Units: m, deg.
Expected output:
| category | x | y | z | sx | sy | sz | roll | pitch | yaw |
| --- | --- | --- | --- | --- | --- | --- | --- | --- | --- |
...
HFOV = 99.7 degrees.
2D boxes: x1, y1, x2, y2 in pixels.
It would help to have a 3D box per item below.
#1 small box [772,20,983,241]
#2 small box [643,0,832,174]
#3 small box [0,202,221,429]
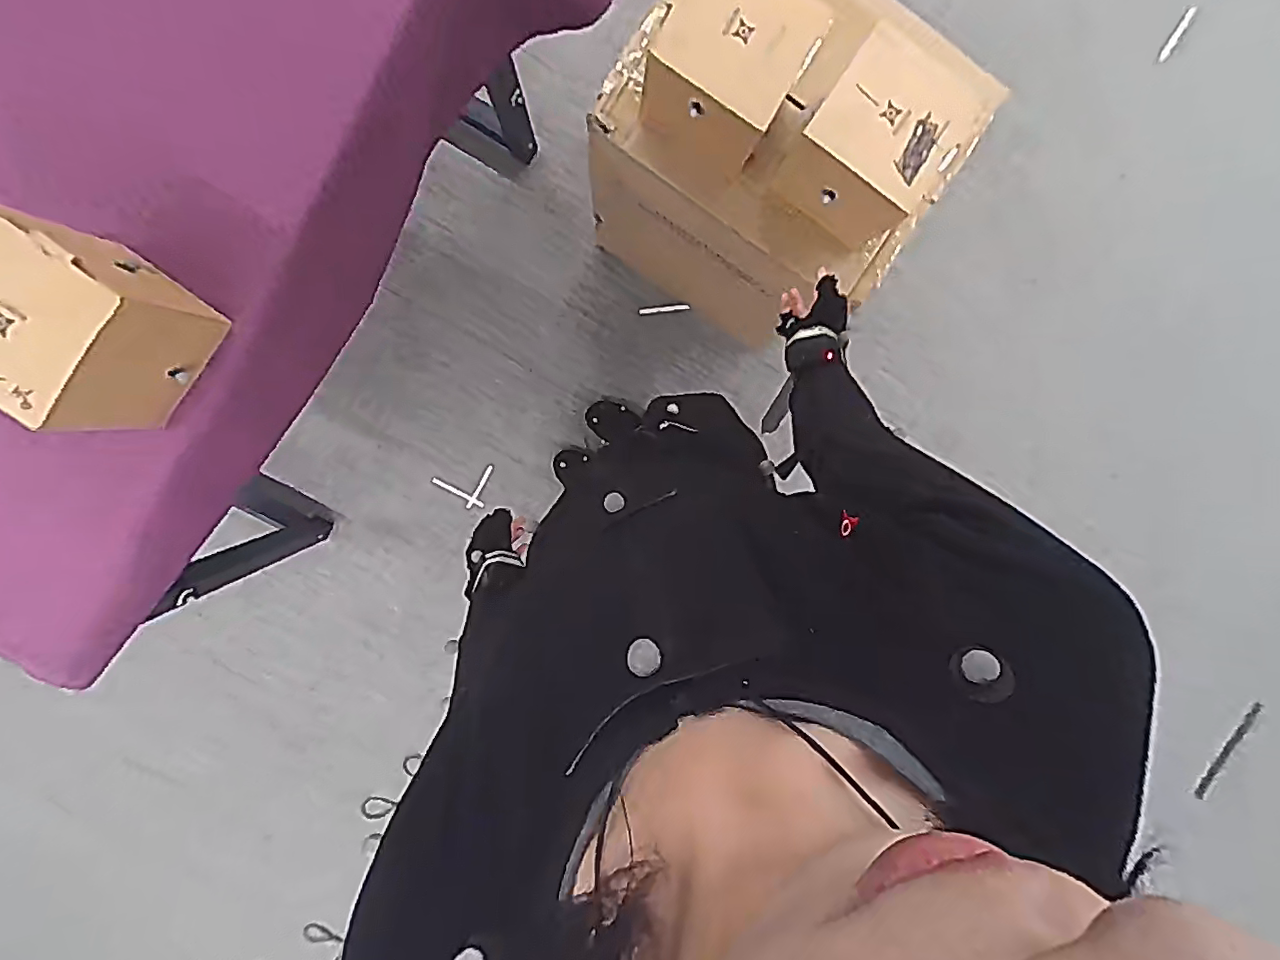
| category | x | y | z | sx | sy | sz | roll | pitch | yaw |
| --- | --- | --- | --- | --- | --- | --- | --- | --- | --- |
| small box | 0.317 | -0.465 | 0.759 | 0.179 | 0.176 | 0.168 | 34 | 95 | -5 |
| small box | 0.117 | -0.560 | 0.738 | 0.179 | 0.176 | 0.168 | 30 | 96 | -8 |
| small box | -0.649 | -0.178 | 0.633 | 0.168 | 0.176 | 0.179 | 36 | 93 | -6 |
